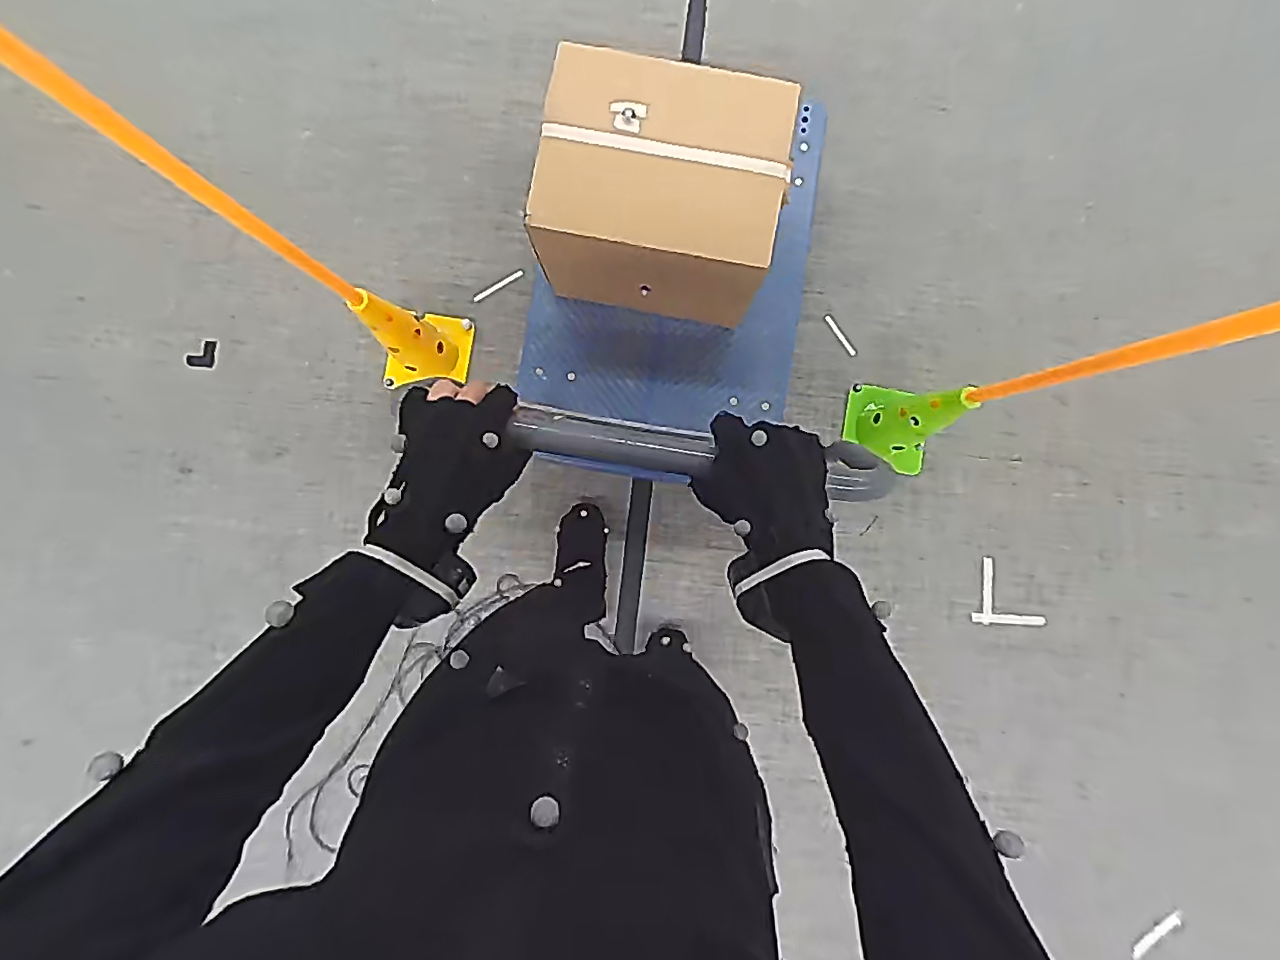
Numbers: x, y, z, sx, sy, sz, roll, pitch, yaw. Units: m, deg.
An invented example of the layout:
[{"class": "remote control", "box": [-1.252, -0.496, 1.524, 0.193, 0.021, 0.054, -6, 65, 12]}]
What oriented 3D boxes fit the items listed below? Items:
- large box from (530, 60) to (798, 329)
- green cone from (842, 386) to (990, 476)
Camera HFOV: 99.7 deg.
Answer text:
[{"class": "large box", "box": [0.044, -0.510, 1.035, 0.408, 0.320, 0.320, 11, 88, 2]}, {"class": "green cone", "box": [0.604, -0.130, 1.152, 0.202, 0.368, 0.200, 10, 87, 0]}]
